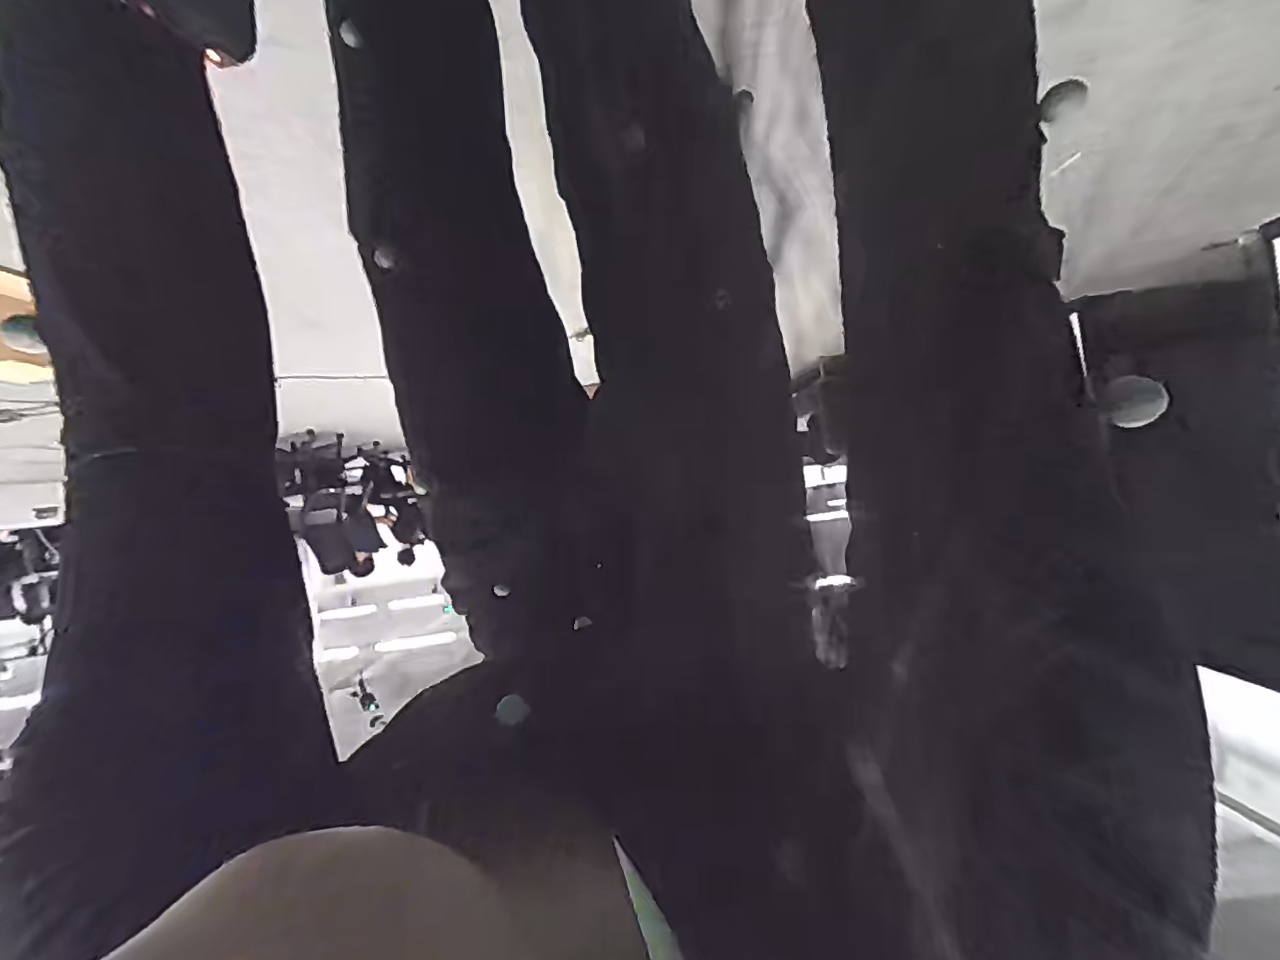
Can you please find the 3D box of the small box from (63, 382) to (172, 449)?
[{"bbox_3d":[-1.577,-0.192,1.633,0.179,0.176,0.168,-9,-178,-1],"label":"small box"}]

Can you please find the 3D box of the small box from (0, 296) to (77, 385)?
[{"bbox_3d":[-1.617,-0.353,1.385,0.179,0.176,0.168,-9,180,3],"label":"small box"}]
